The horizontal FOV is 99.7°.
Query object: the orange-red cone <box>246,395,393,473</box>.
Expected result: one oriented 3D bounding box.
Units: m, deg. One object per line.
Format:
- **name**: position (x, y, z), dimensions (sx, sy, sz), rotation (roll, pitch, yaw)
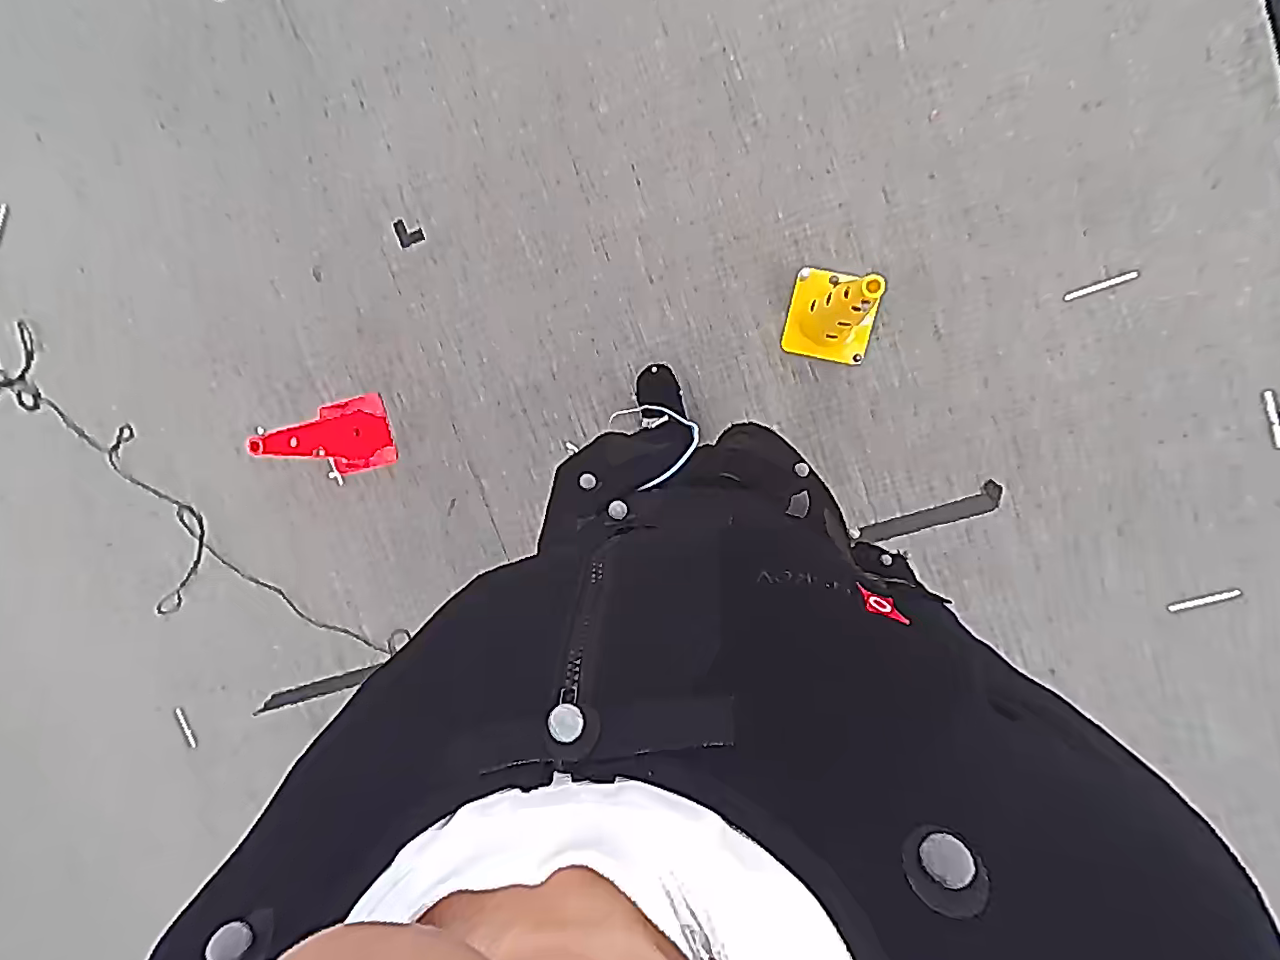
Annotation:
- **orange-red cone**: position (-0.817, -0.101, 1.345), dimensions (0.199, 0.360, 0.198), rotation (-11, 98, 8)
